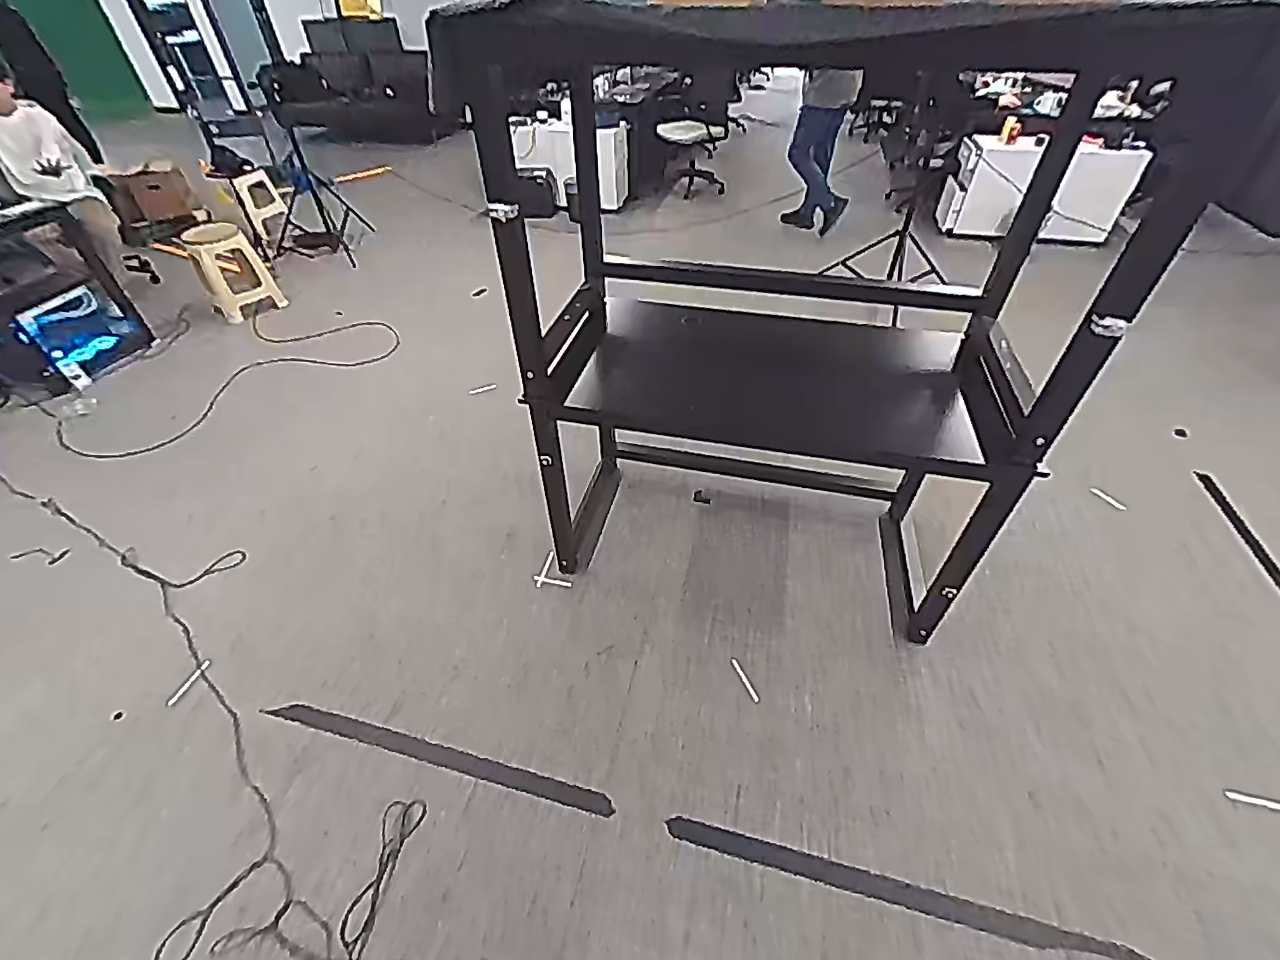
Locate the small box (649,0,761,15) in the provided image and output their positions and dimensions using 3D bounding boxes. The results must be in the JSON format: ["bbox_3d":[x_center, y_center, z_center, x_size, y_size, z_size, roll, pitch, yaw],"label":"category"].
[{"bbox_3d":[0.109,-0.840,0.842,0.168,0.176,0.179,11,43,12],"label":"small box"}]

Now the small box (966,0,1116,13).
[{"bbox_3d":[0.571,-0.752,0.737,0.168,0.176,0.179,9,43,12],"label":"small box"}]
